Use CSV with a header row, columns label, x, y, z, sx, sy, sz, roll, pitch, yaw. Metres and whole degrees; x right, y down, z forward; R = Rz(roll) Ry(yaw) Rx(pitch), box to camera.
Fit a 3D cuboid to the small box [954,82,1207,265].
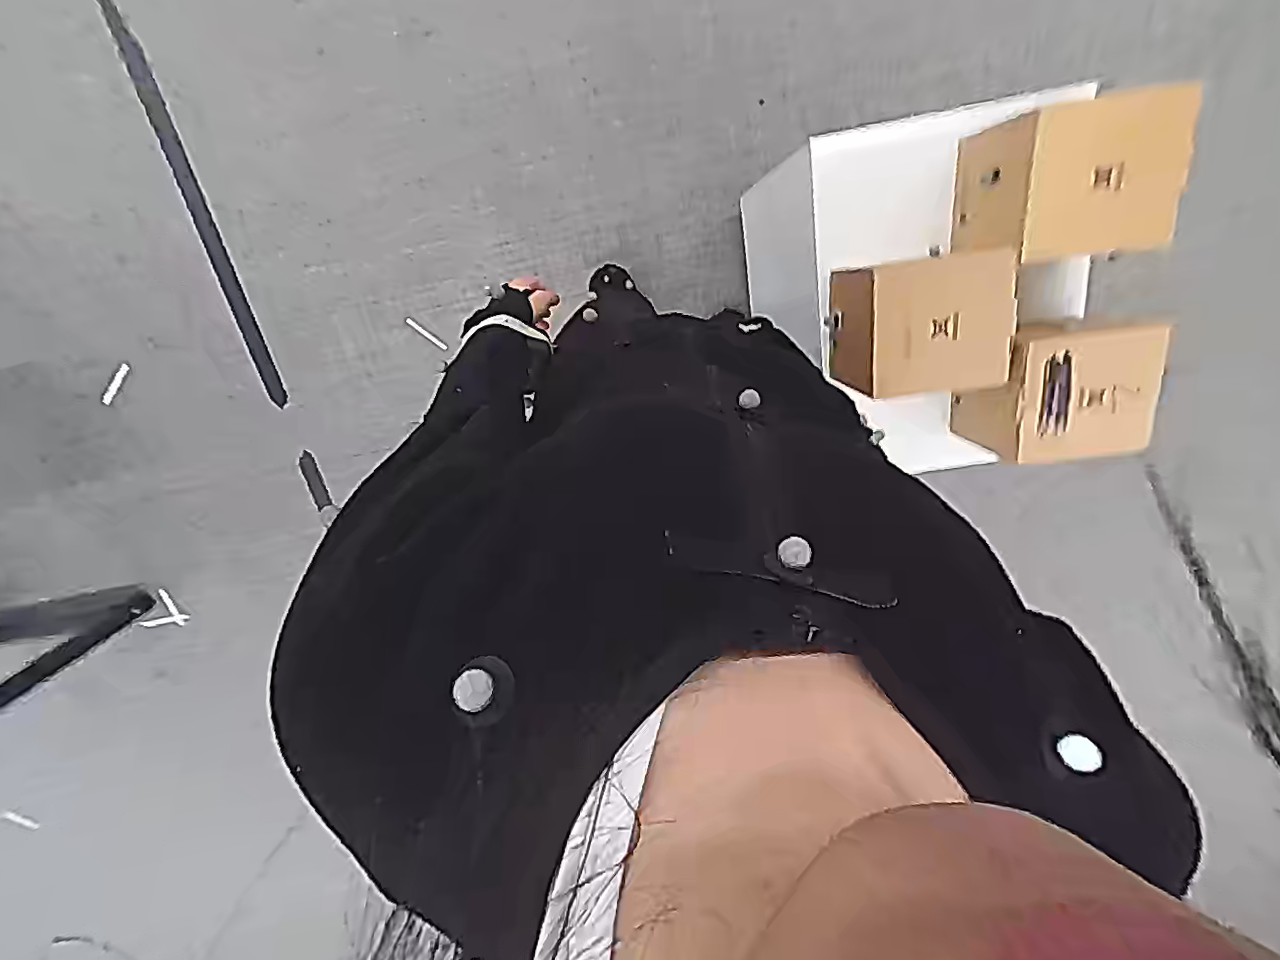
label,x,y,z,sx,sy,sz,roll,pitch,yaw
small box,0.529,-0.369,0.682,0.179,0.176,0.168,-6,111,2
